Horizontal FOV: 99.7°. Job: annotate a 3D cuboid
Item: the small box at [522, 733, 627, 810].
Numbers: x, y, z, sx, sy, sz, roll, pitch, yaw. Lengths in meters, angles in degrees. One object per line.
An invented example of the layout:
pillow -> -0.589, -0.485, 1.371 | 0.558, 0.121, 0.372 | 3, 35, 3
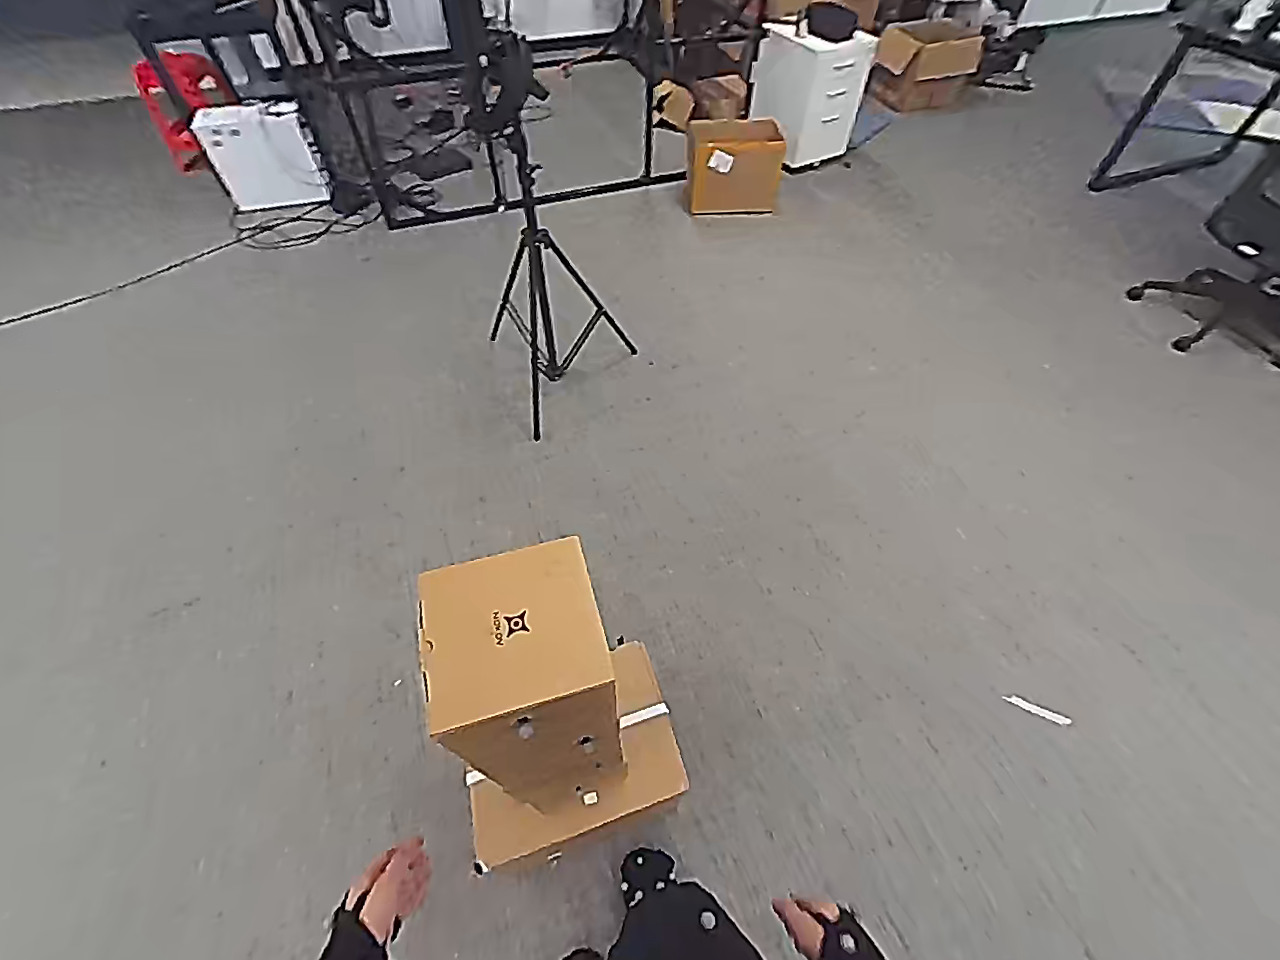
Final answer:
small box -> -0.130, 0.487, 1.001 | 0.179, 0.176, 0.168 | -16, 56, -14

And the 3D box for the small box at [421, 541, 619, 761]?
small box -> -0.128, 0.195, 0.607 | 0.179, 0.176, 0.168 | -14, 56, -10

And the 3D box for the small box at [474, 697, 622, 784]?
small box -> -0.130, 0.292, 0.737 | 0.179, 0.176, 0.168 | -14, 55, -11
